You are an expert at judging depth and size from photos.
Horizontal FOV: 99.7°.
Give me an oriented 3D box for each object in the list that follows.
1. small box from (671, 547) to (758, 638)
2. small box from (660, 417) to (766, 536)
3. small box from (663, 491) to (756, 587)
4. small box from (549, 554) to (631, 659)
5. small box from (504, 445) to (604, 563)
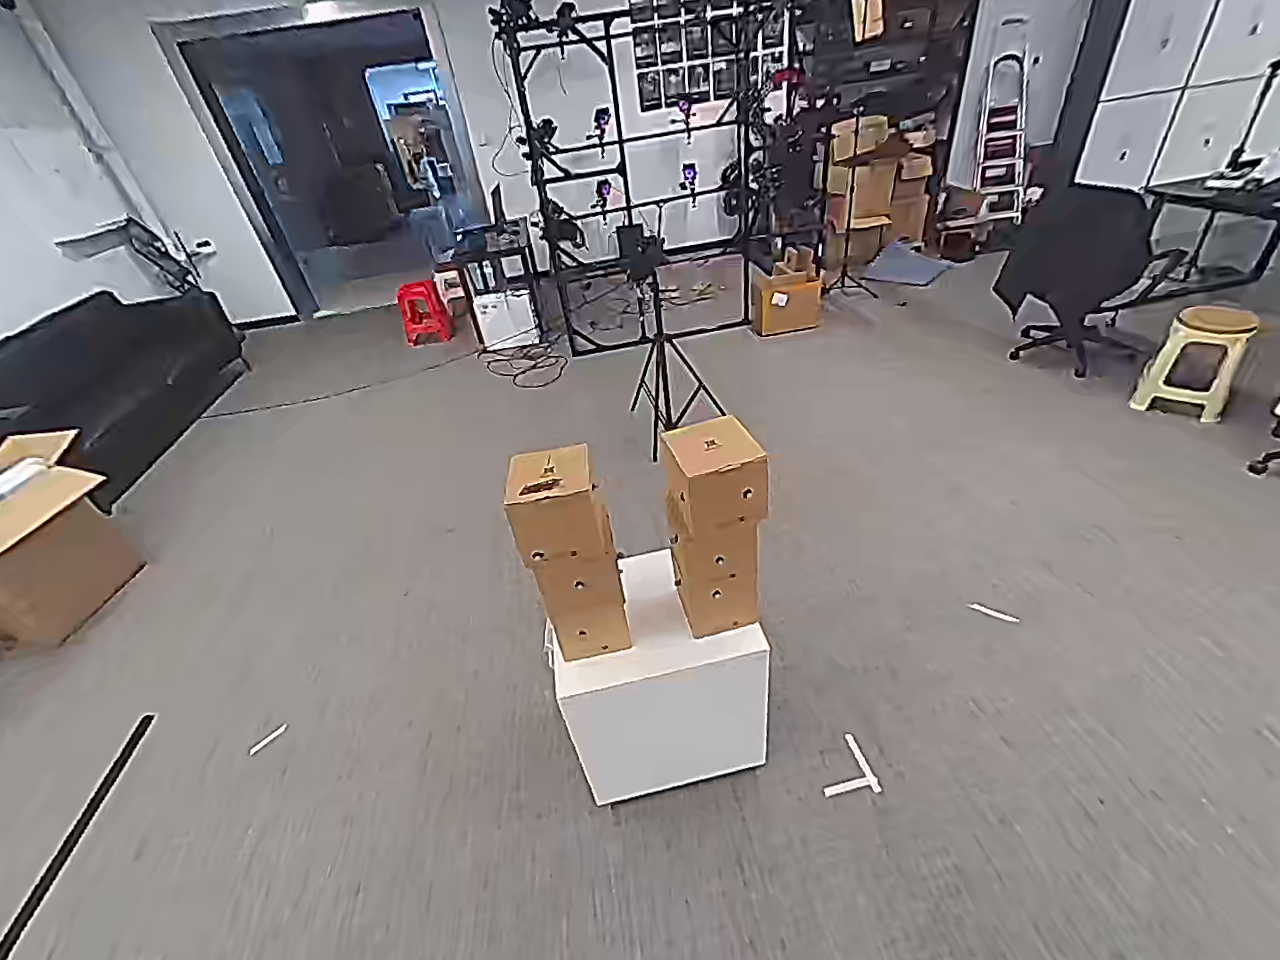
[{"bbox_3d":[0.181,0.255,1.326,0.168,0.176,0.179,-14,36,-5],"label":"small box"},{"bbox_3d":[0.153,-0.002,1.123,0.168,0.176,0.179,-16,37,-9],"label":"small box"},{"bbox_3d":[0.158,0.123,1.228,0.168,0.176,0.179,-13,36,-5],"label":"small box"},{"bbox_3d":[-0.122,0.313,1.316,0.168,0.176,0.179,-11,36,-4],"label":"small box"},{"bbox_3d":[-0.171,0.055,1.117,0.168,0.176,0.179,-10,35,-1],"label":"small box"}]
